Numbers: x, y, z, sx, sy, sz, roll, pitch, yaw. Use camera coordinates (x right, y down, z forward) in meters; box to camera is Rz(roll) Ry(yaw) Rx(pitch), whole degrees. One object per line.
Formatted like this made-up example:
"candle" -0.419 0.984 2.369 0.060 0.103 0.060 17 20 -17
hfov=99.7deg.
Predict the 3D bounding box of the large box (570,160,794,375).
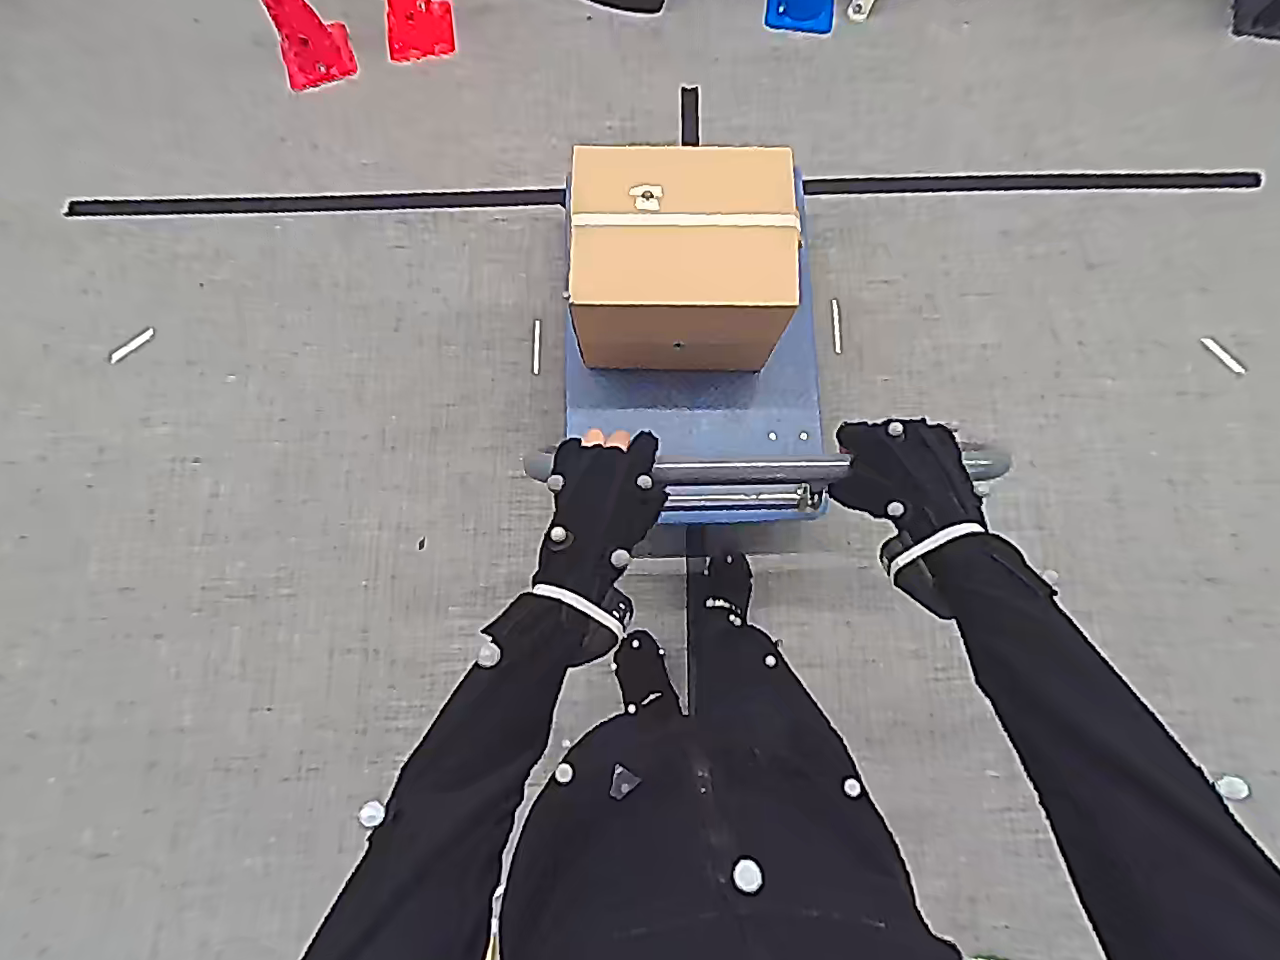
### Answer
"large box" 0.078 -0.415 1.123 0.408 0.320 0.320 0 80 1
